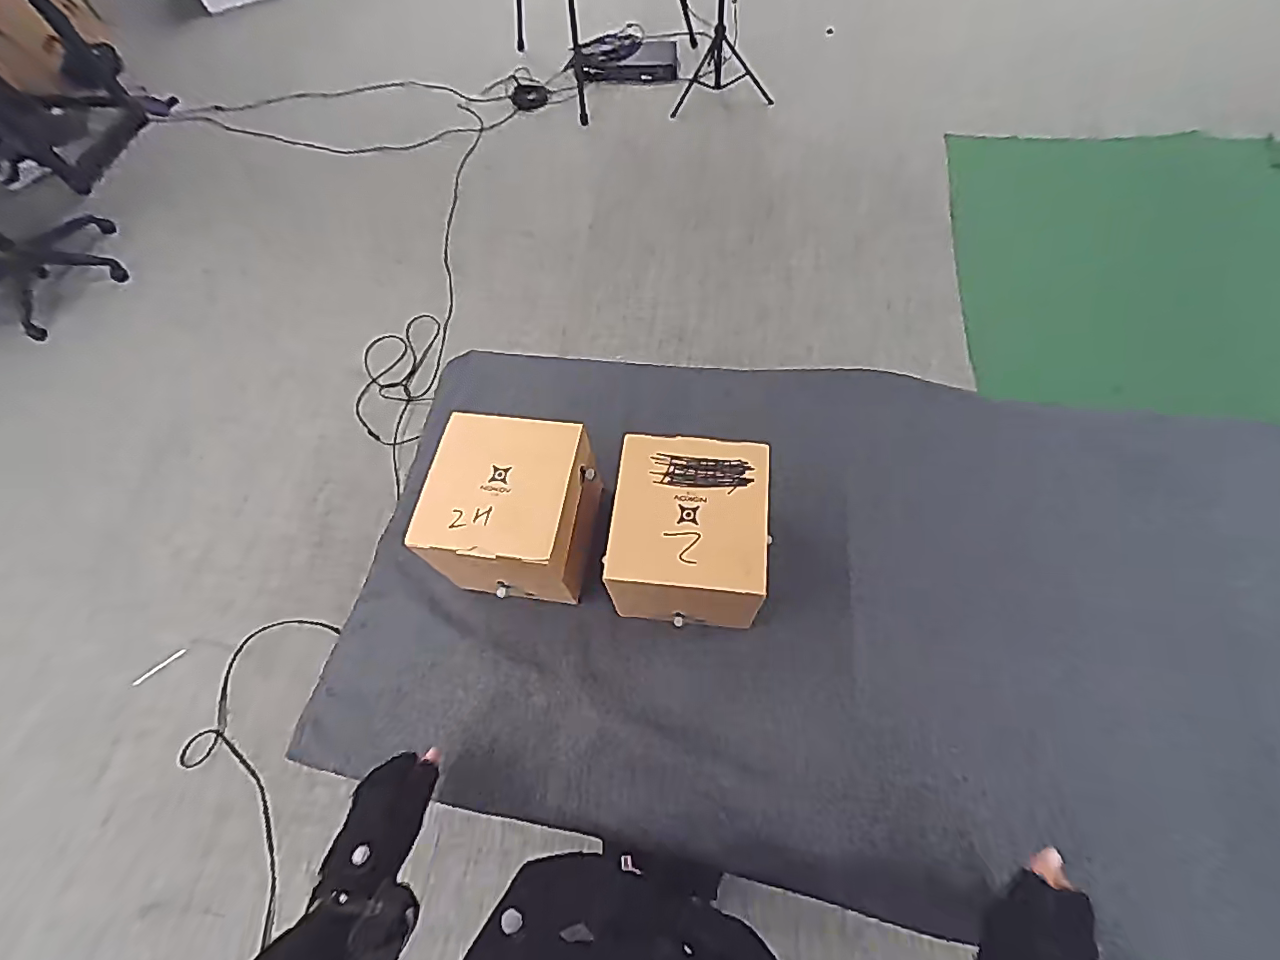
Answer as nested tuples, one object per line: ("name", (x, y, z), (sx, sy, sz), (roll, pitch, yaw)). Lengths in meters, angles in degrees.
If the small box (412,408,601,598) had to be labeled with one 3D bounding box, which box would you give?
("small box", (-0.150, 0.034, 0.682), (0.168, 0.176, 0.179), (6, 64, 8))
